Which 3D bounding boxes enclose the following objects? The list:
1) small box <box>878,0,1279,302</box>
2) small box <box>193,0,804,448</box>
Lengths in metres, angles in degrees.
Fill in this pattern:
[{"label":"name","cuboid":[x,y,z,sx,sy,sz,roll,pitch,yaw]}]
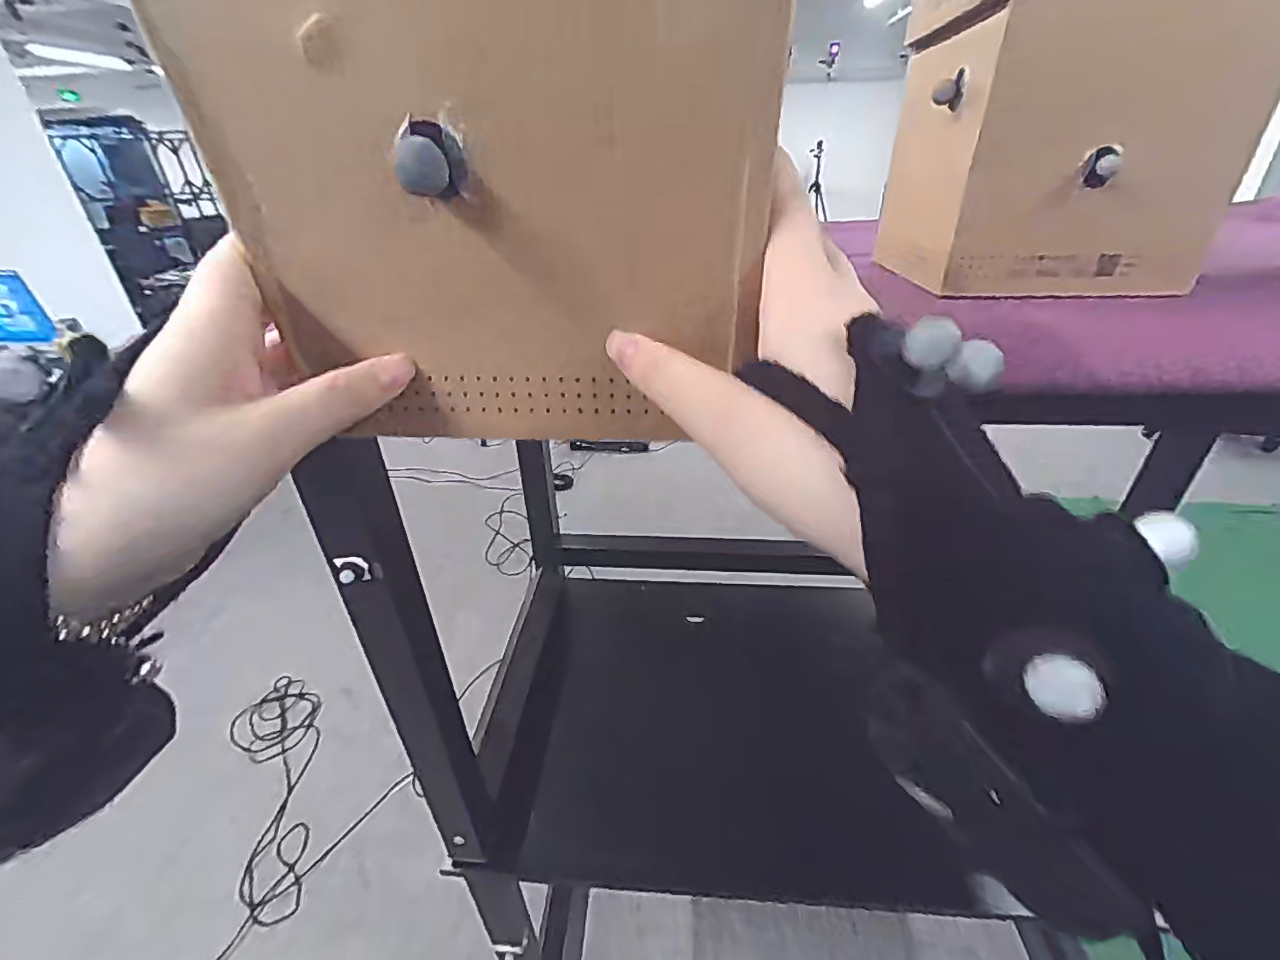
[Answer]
[{"label":"small box","cuboid":[0.304,-0.239,0.417,0.168,0.176,0.179,3,31,5]},{"label":"small box","cuboid":[-0.034,-0.126,0.238,0.179,0.176,0.168,1,39,4]}]
